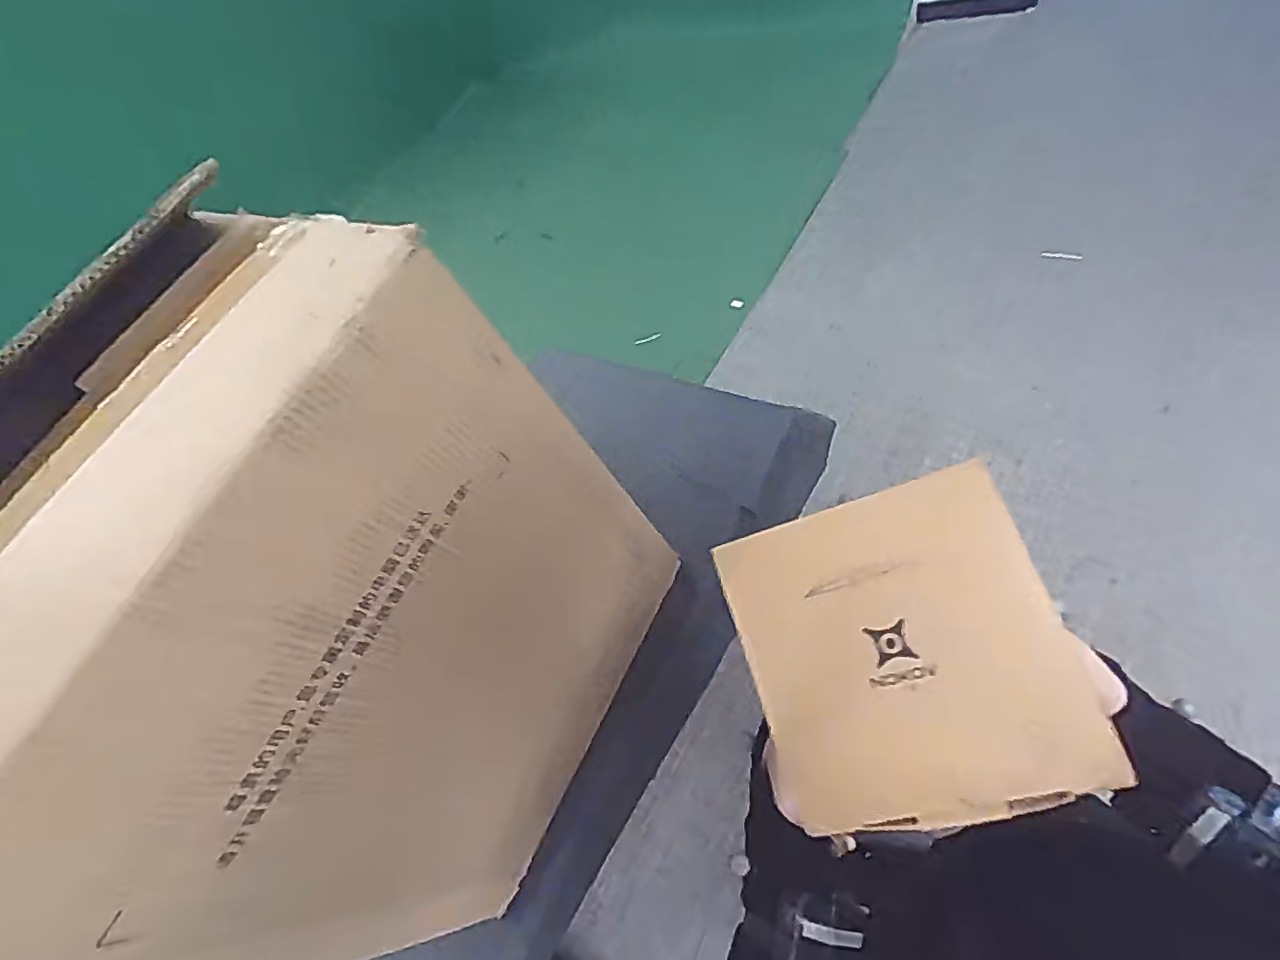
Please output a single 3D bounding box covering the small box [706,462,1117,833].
[{"bbox_3d":[0.168,0.106,0.382,0.168,0.176,0.179,-23,75,17],"label":"small box"}]
